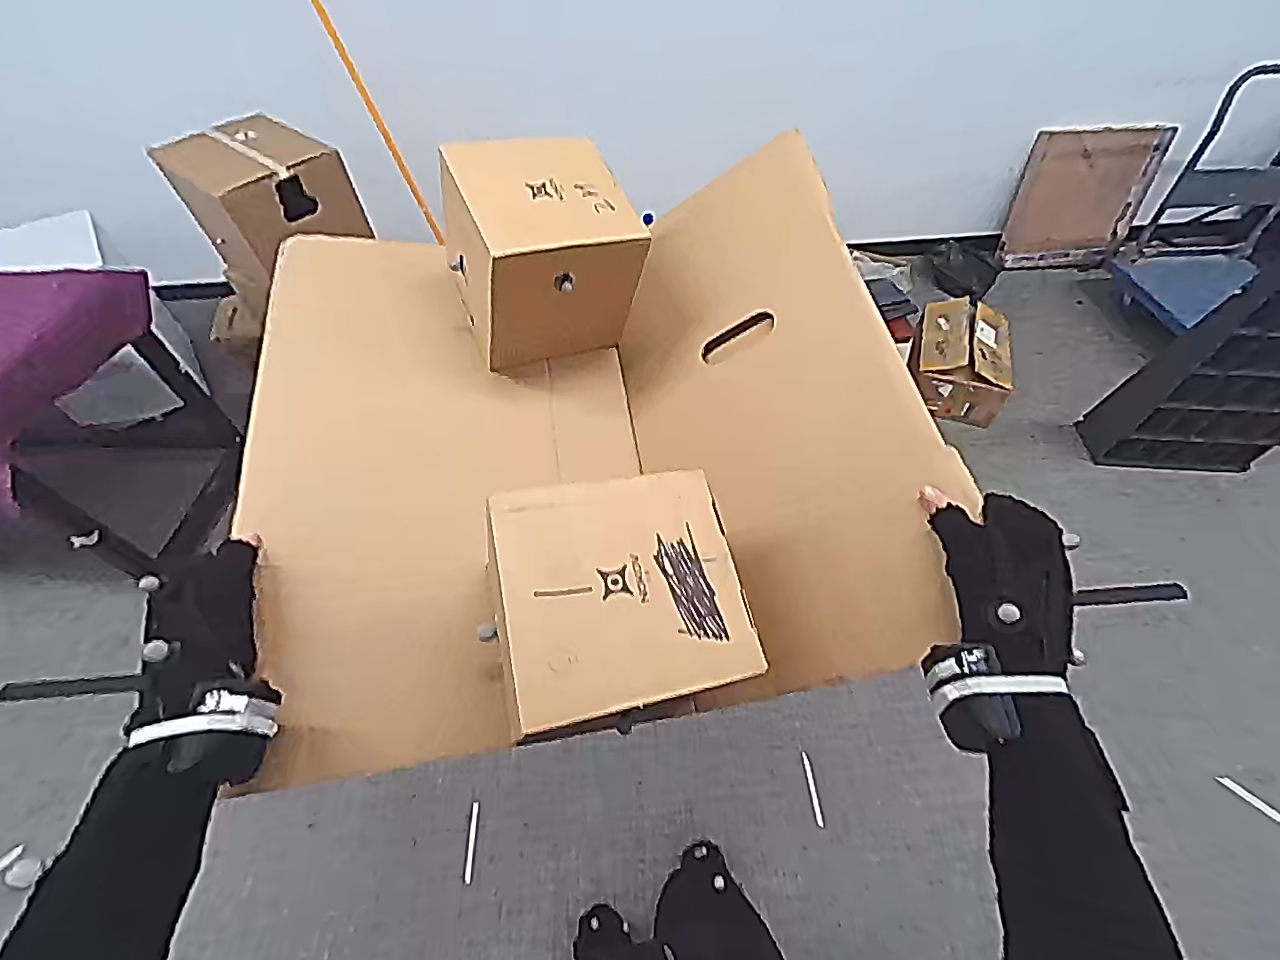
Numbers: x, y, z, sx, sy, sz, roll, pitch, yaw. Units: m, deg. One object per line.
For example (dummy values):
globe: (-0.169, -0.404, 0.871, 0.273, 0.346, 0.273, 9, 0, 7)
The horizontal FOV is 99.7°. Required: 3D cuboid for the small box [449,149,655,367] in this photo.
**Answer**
small box: (-0.109, -0.253, 0.633, 0.179, 0.176, 0.168, -17, 69, -24)
